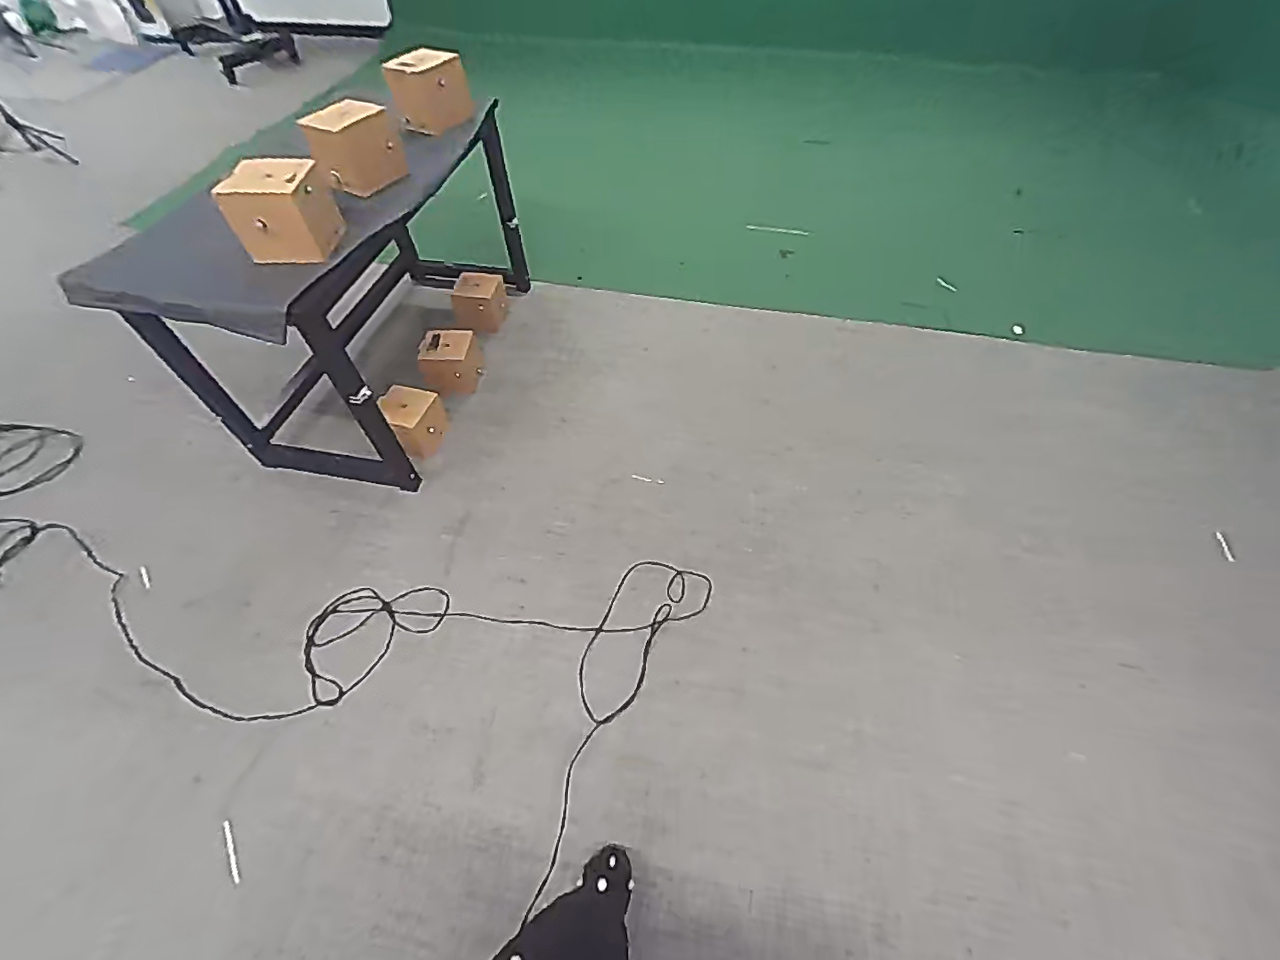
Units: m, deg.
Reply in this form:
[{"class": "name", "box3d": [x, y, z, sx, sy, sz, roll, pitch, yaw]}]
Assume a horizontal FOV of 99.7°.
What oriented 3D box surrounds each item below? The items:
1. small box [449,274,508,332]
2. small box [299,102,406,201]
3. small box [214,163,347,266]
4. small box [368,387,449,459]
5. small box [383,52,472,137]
[{"class": "small box", "box3d": [-0.670, -0.738, 2.264, 0.179, 0.176, 0.168, 5, 54, 5]}, {"class": "small box", "box3d": [-0.775, -0.903, 1.487, 0.168, 0.176, 0.179, 25, 59, 22]}, {"class": "small box", "box3d": [-0.841, -0.627, 1.286, 0.179, 0.176, 0.168, -1, 54, 0]}, {"class": "small box", "box3d": [-0.793, -0.194, 1.875, 0.179, 0.176, 0.168, 13, 55, 10]}, {"class": "small box", "box3d": [-0.661, -1.214, 1.706, 0.168, 0.176, 0.179, 26, 60, 21]}]
